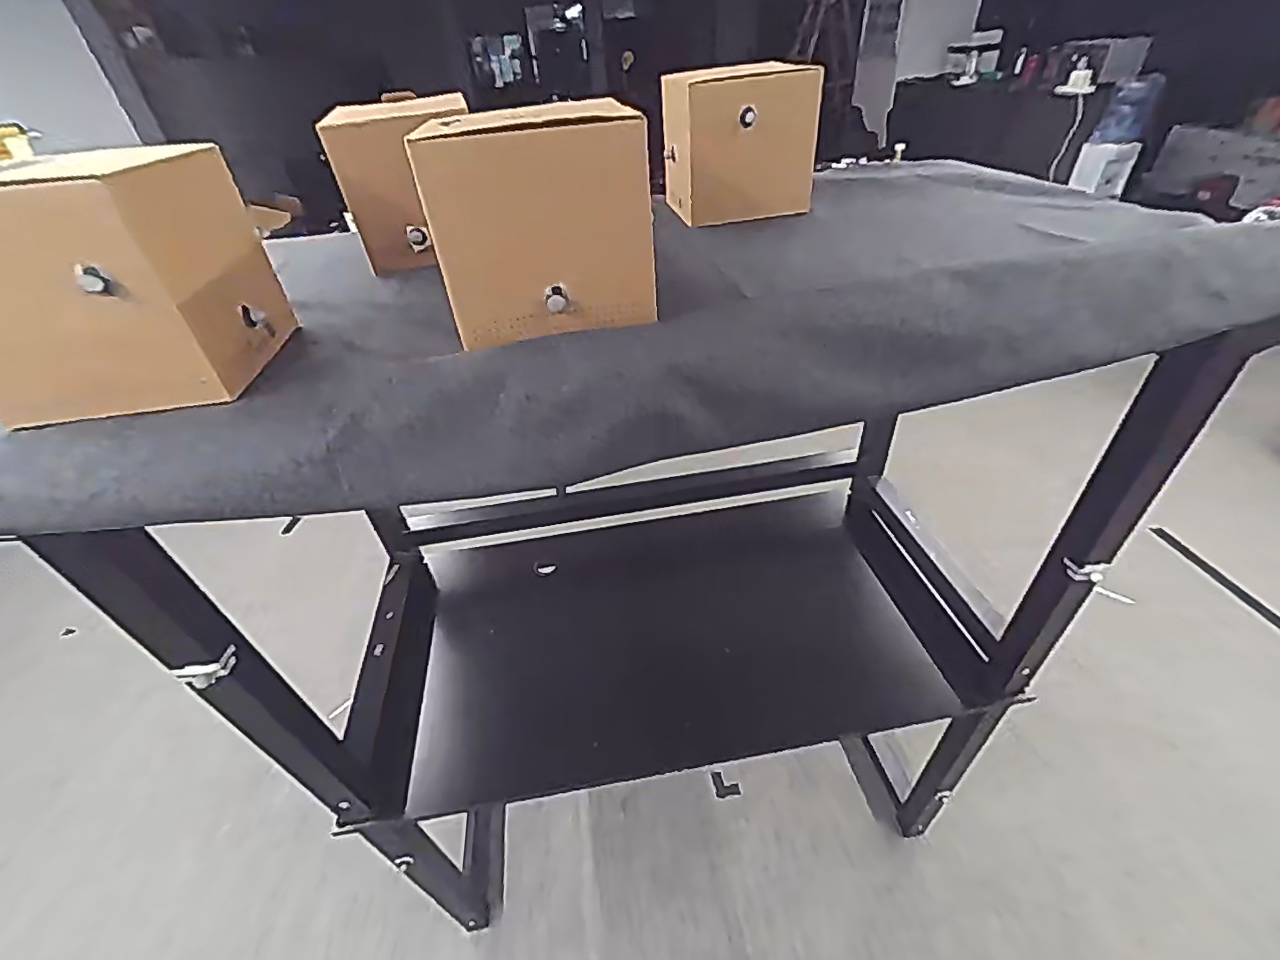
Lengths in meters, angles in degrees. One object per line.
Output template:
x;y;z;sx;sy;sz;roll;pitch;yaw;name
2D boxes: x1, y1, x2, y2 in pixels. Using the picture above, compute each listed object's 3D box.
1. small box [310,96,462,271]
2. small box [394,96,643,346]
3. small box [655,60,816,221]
-0.295;-0.391;0.710;0.168;0.176;0.179;-15;40;-9;small box
-0.094;-0.238;0.493;0.179;0.176;0.168;-9;37;-6;small box
0.126;-0.477;0.763;0.179;0.176;0.168;-10;40;-5;small box
